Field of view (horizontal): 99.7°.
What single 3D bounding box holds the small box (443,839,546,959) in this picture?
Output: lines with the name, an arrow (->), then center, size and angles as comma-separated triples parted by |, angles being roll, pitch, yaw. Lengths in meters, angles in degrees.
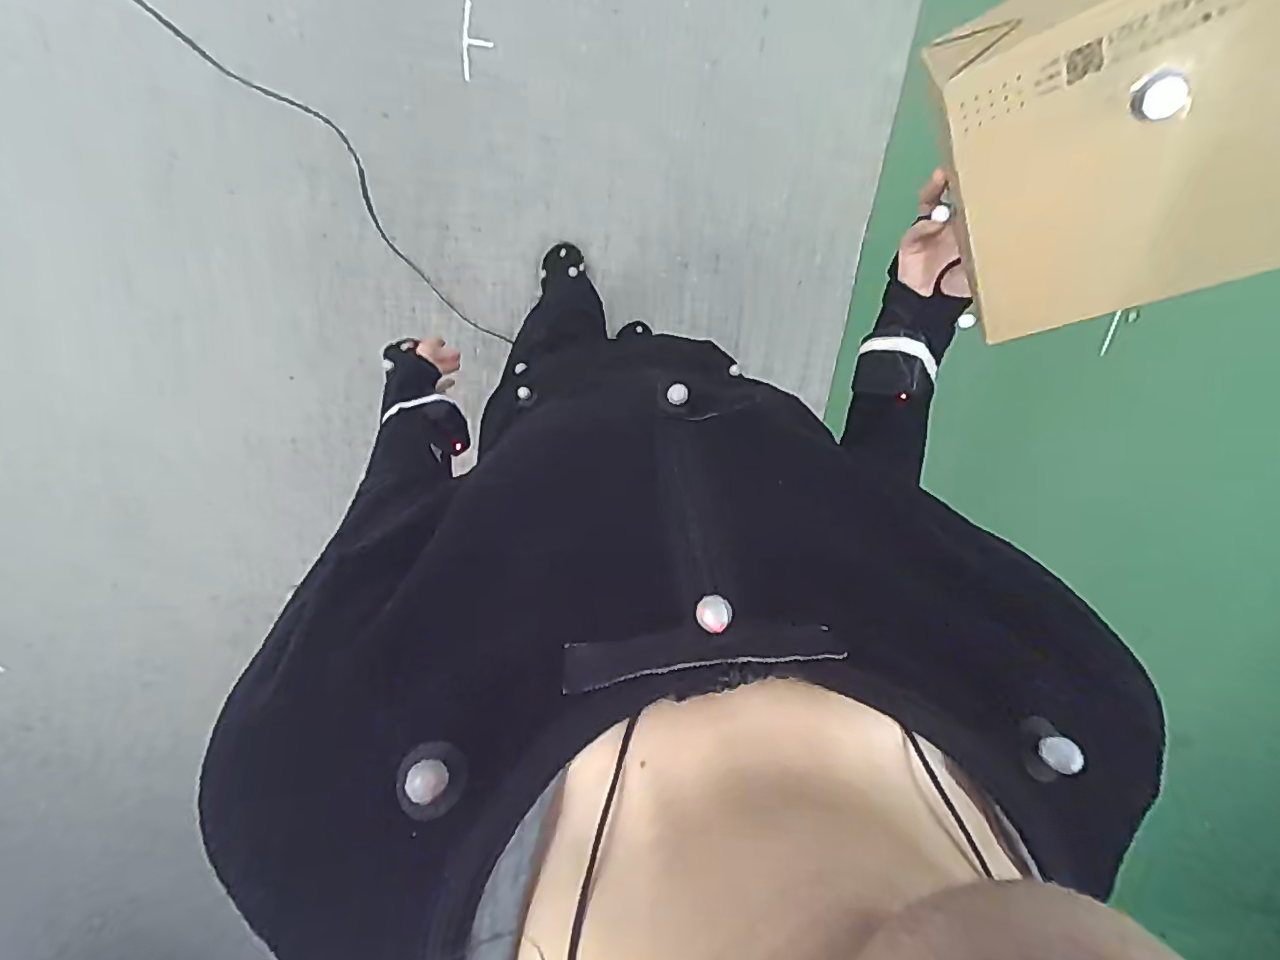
small box -> -0.282, 0.852, 1.063 | 0.168, 0.176, 0.179 | 12, 107, -10

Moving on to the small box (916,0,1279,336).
small box -> 0.288, -0.230, 0.346 | 0.168, 0.179, 0.176 | -14, 124, 33

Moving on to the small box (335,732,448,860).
small box -> -0.518, 0.663, 1.147 | 0.179, 0.176, 0.168 | 9, 105, -8
